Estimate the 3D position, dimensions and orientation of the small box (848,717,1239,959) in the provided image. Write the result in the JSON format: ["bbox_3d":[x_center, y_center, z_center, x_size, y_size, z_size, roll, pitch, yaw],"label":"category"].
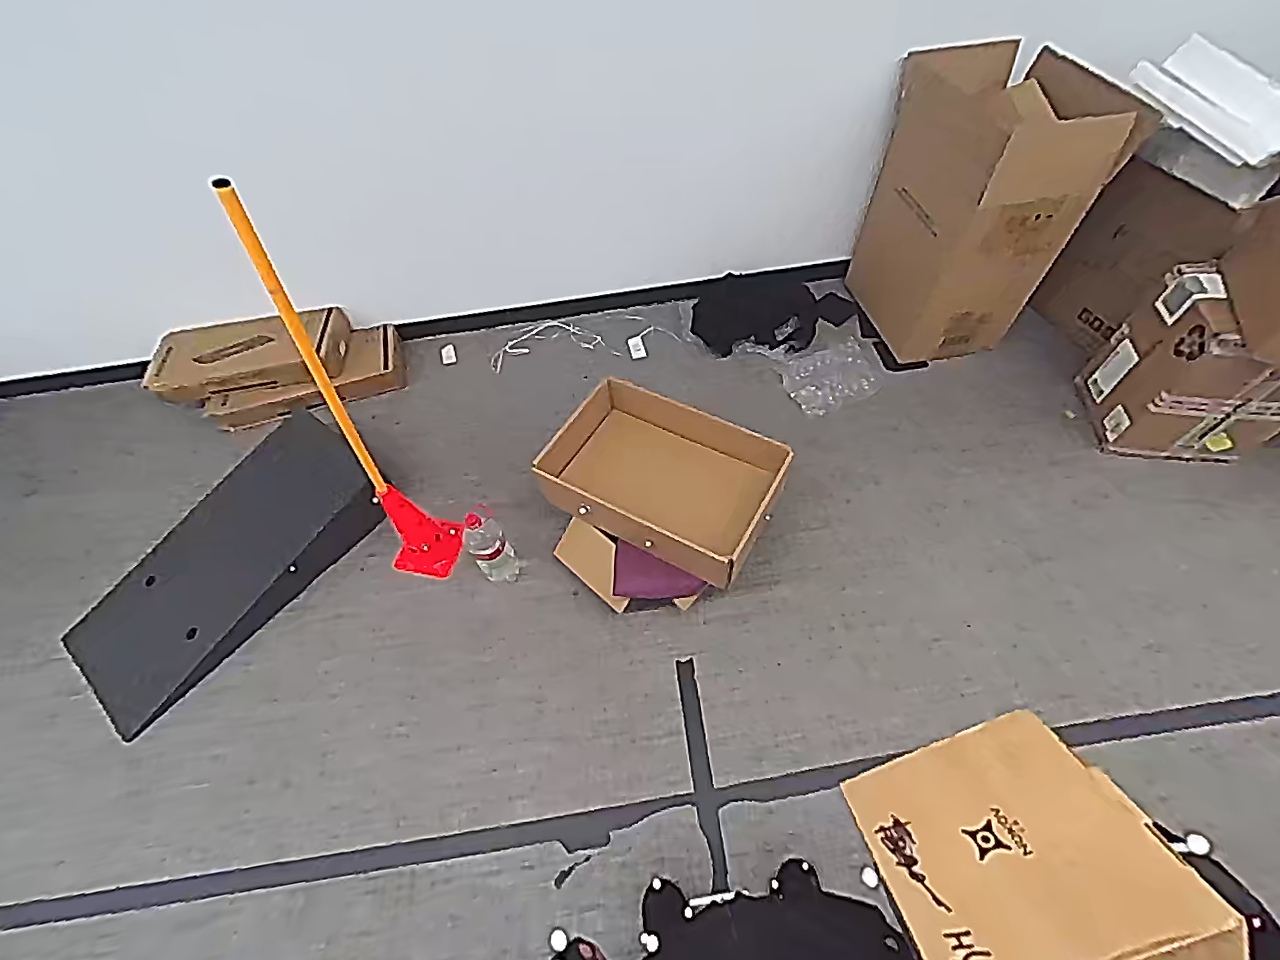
[{"bbox_3d":[0.298,0.333,0.426,0.179,0.176,0.168,-24,19,4],"label":"small box"}]
